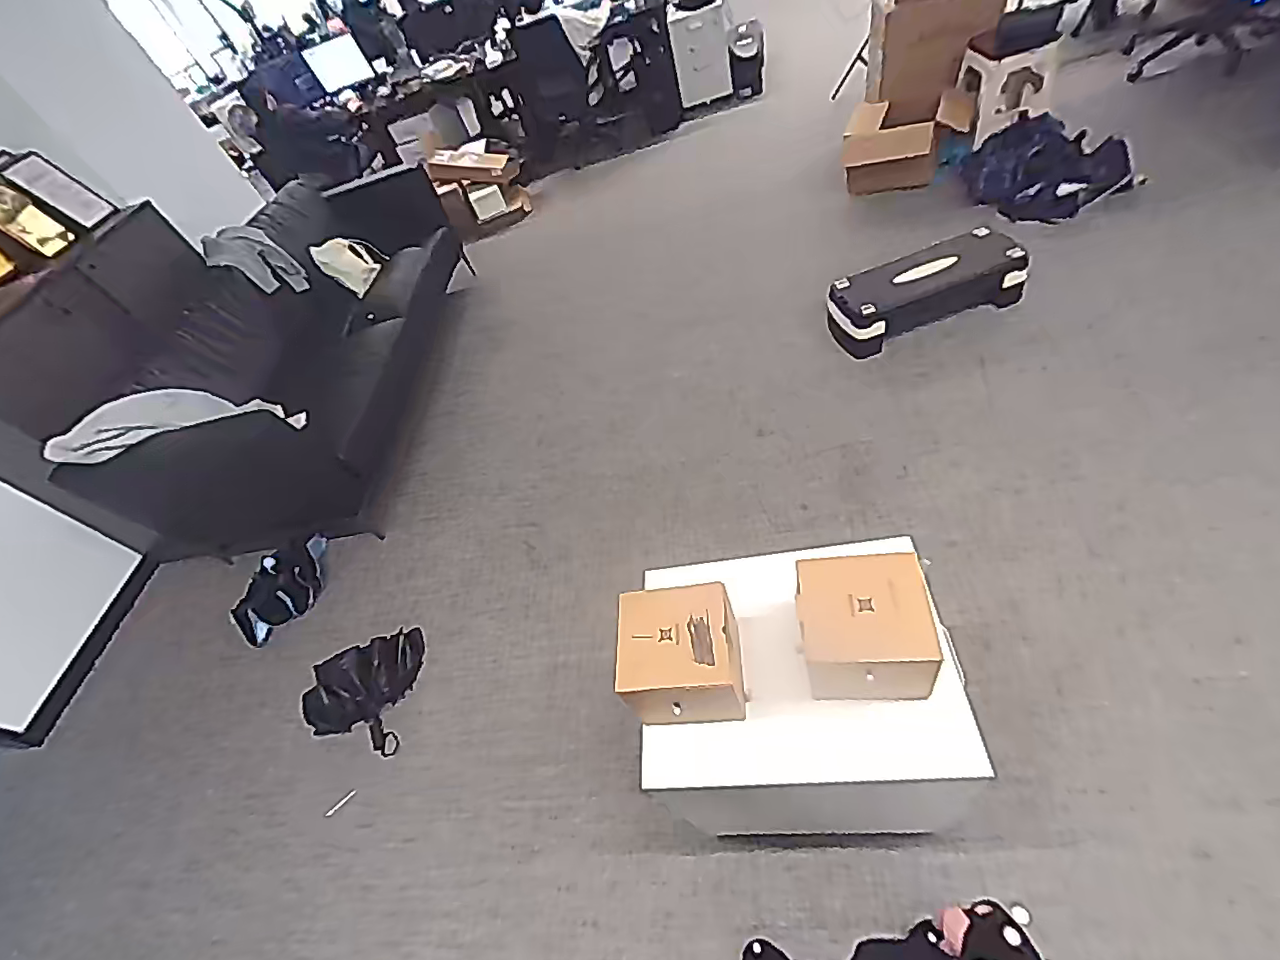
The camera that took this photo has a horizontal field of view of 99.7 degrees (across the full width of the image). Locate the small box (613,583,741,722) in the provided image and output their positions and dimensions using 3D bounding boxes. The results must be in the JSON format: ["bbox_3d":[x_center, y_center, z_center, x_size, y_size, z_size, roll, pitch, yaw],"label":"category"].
[{"bbox_3d":[0.068,0.288,0.889,0.179,0.176,0.168,-9,49,14],"label":"small box"}]

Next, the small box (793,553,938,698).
[{"bbox_3d":[0.339,0.230,0.837,0.179,0.176,0.168,-6,51,16],"label":"small box"}]
